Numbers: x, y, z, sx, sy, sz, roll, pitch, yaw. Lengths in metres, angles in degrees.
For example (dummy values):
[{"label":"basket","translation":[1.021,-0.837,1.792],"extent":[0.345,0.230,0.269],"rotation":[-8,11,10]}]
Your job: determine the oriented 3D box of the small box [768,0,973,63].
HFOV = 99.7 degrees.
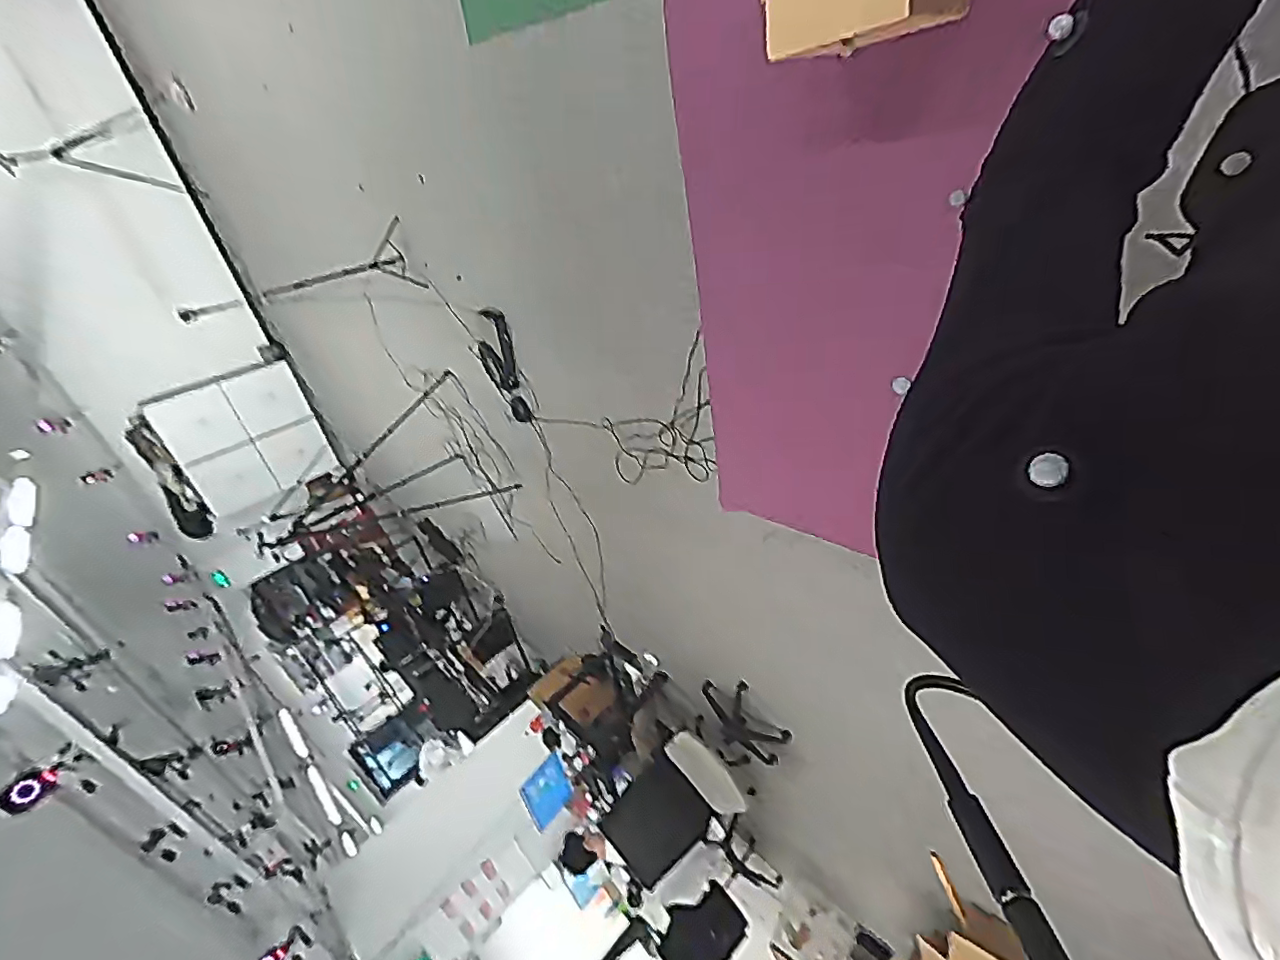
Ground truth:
[{"label":"small box","translation":[0.266,-0.605,0.624],"extent":[0.179,0.176,0.168],"rotation":[21,134,43]}]
